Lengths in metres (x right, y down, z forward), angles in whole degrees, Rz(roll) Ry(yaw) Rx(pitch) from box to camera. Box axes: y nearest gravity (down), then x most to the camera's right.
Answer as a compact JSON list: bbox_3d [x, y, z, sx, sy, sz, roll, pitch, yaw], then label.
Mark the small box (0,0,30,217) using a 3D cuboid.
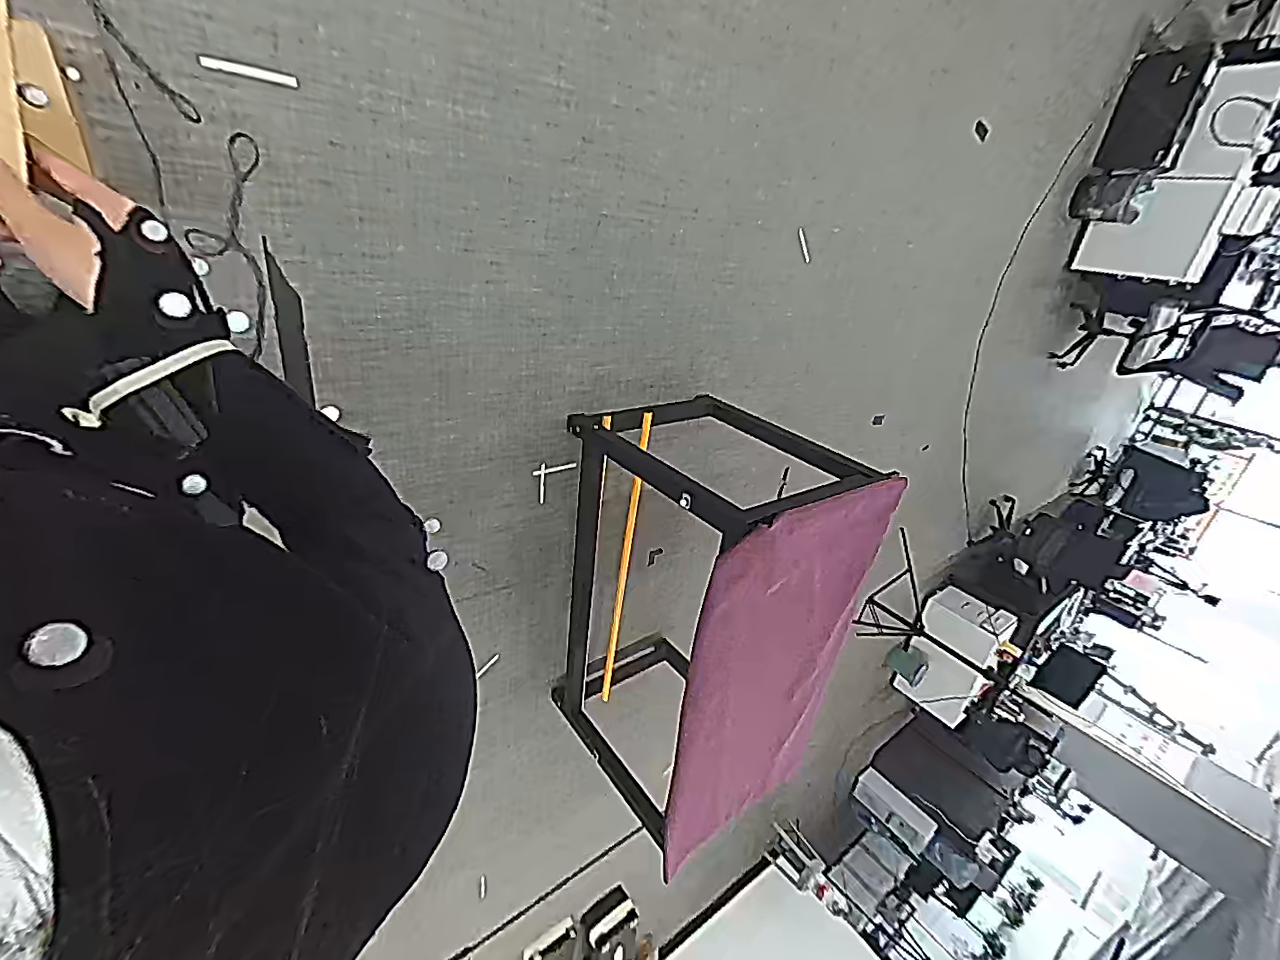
[{"bbox_3d":[-0.456,-0.252,0.287,0.168,0.176,0.179,-8,111,-48],"label":"small box"}]
